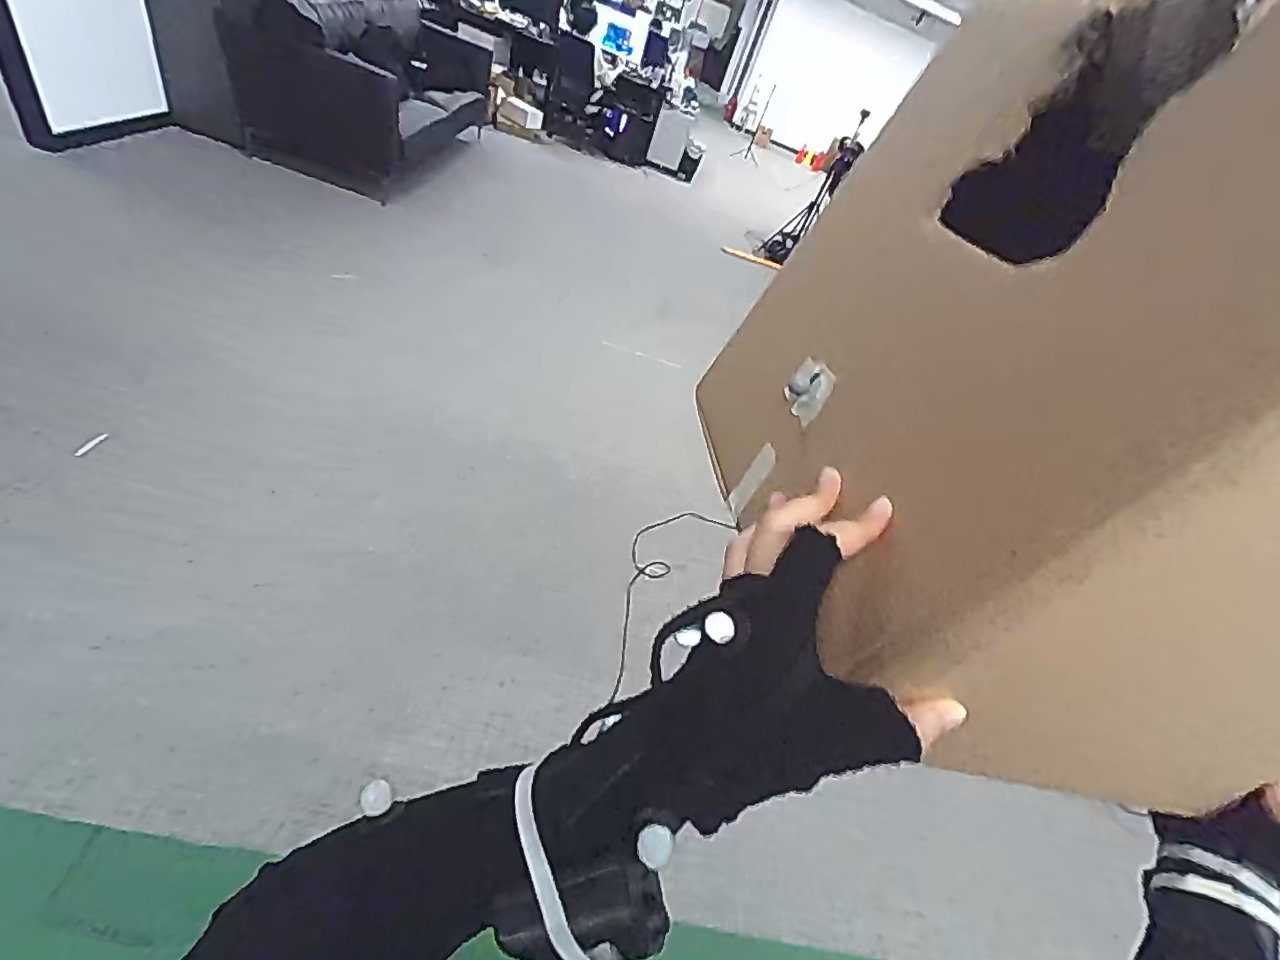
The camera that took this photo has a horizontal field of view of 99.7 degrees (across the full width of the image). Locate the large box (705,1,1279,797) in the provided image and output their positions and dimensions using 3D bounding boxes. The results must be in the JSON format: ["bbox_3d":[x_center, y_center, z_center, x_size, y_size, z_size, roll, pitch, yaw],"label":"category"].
[{"bbox_3d":[0.313,-0.016,0.370,0.408,0.320,0.320,21,36,-24],"label":"large box"}]
